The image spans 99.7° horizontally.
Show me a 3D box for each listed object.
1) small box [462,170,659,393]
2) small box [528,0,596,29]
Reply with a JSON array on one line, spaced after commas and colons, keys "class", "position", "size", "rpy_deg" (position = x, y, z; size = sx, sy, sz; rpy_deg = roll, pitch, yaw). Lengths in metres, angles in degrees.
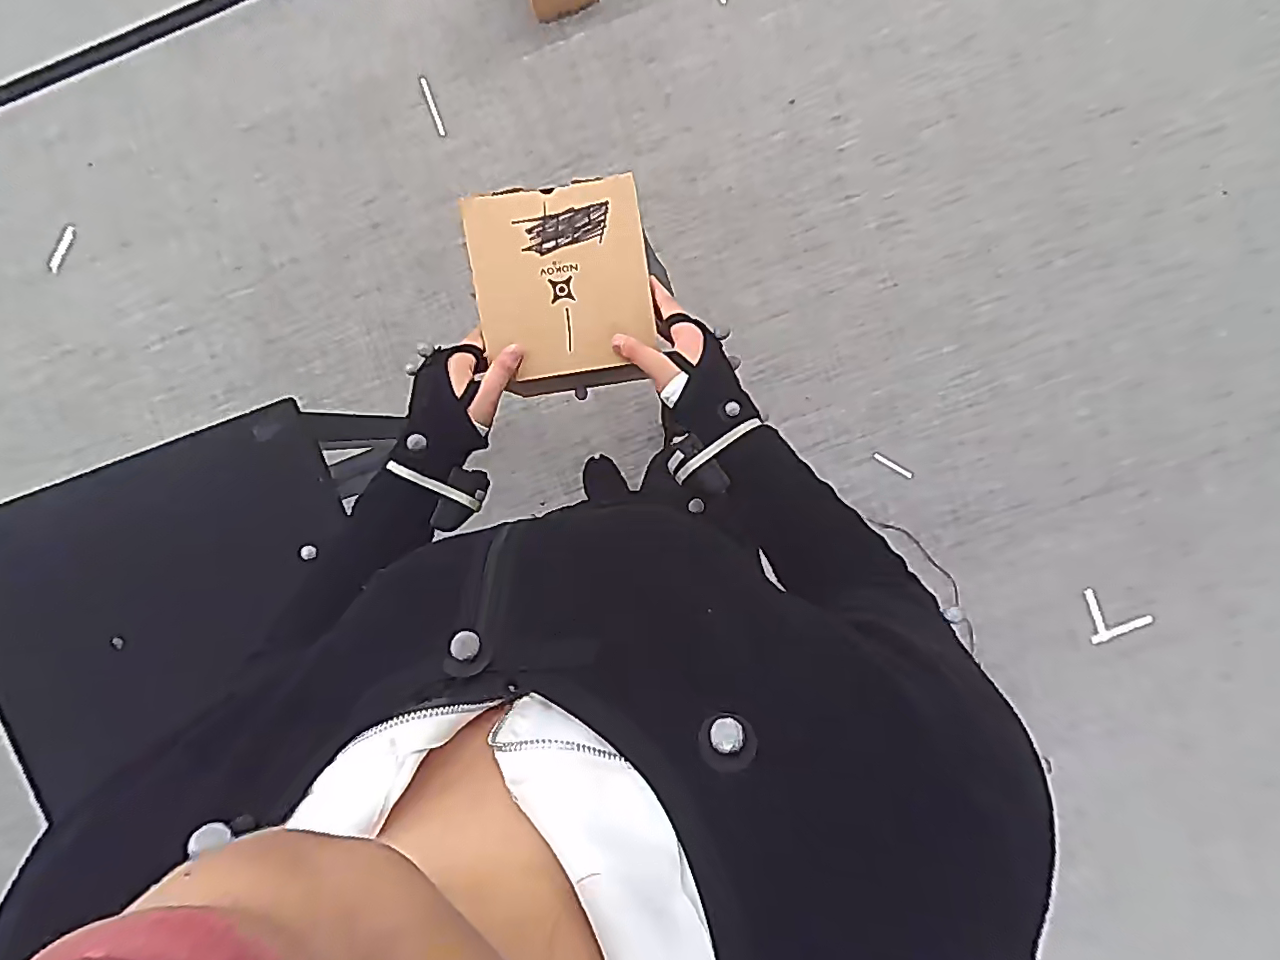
[{"class": "small box", "position": [-0.076, -0.198, 0.586], "size": [0.168, 0.176, 0.179], "rpy_deg": [-9, 95, 0]}, {"class": "small box", "position": [-0.210, -1.269, 1.321], "size": [0.179, 0.176, 0.168], "rpy_deg": [-20, 93, 3]}]
